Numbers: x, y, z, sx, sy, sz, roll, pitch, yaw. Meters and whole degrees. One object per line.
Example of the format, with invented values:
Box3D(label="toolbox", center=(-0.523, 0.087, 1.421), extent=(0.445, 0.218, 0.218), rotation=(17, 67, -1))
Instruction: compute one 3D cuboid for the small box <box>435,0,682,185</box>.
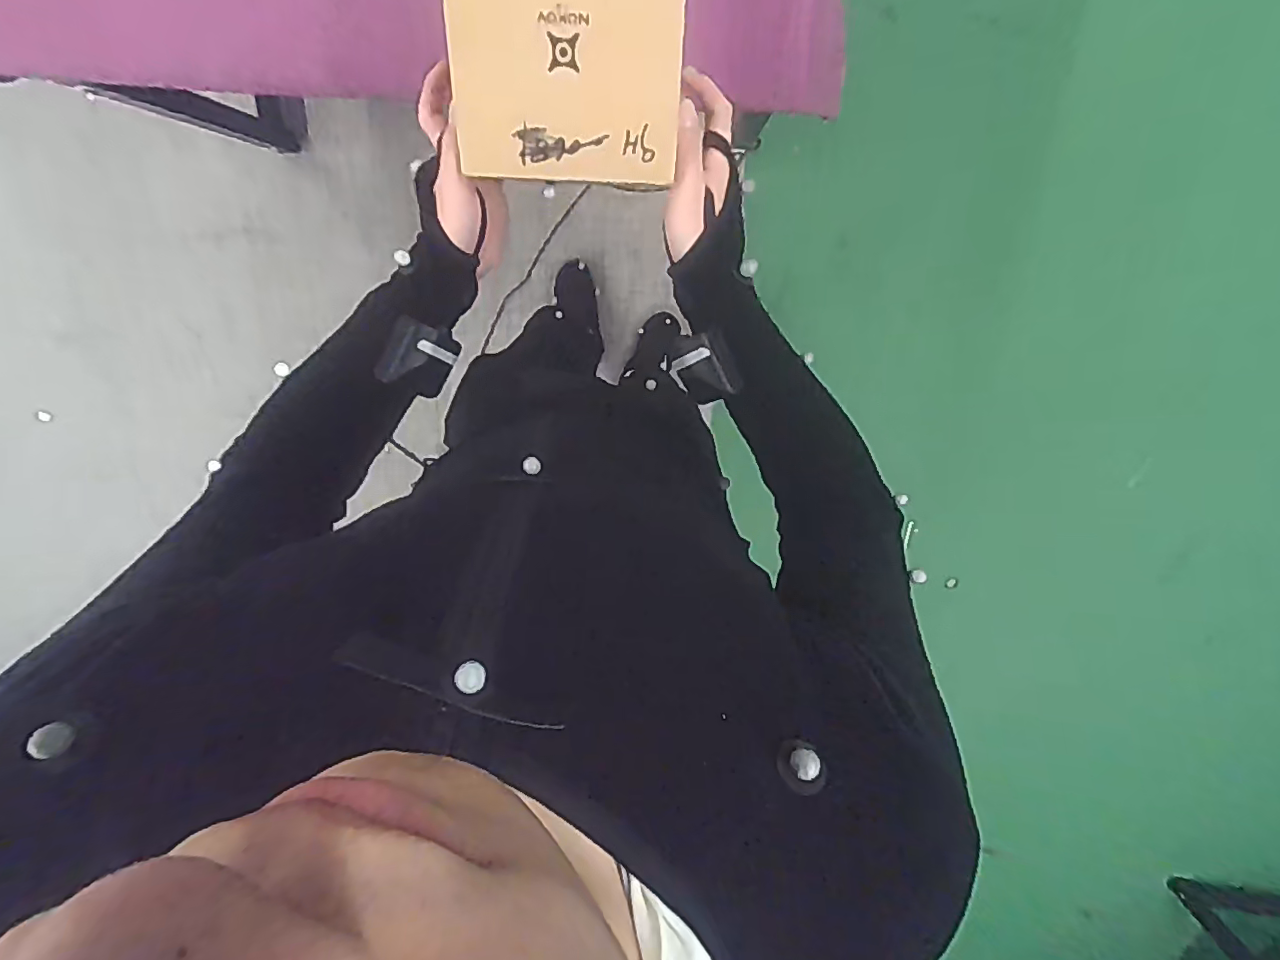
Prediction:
Box3D(label="small box", center=(-0.053, -0.343, 0.434), extent=(0.168, 0.176, 0.179), rotation=(3, 118, 1))
